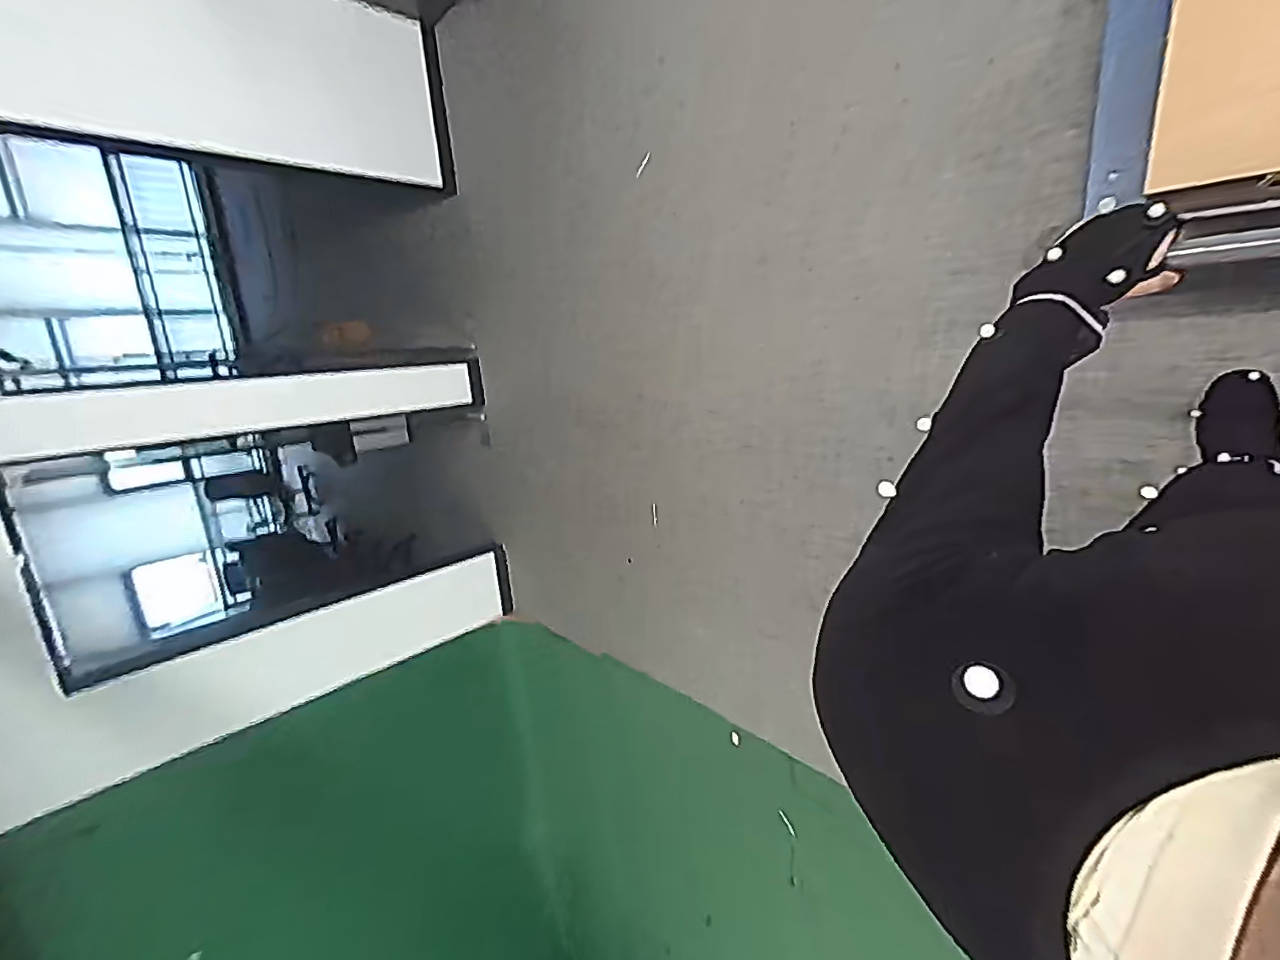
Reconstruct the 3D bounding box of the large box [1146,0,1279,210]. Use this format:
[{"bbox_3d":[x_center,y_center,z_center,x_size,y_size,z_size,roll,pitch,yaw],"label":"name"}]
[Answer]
[{"bbox_3d":[0.959,-0.643,0.752,0.320,0.320,0.408,11,109,45],"label":"large box"}]
